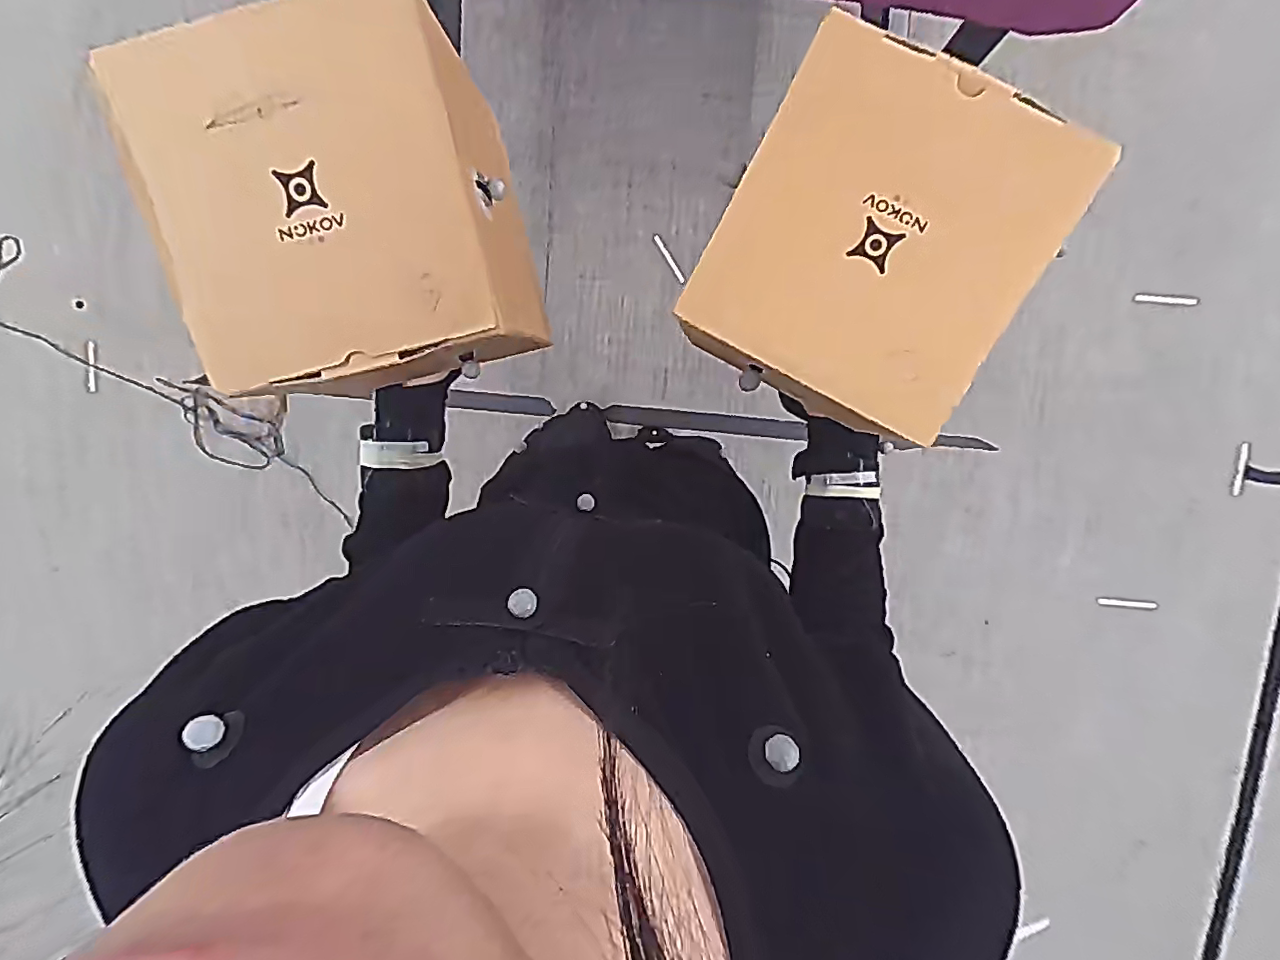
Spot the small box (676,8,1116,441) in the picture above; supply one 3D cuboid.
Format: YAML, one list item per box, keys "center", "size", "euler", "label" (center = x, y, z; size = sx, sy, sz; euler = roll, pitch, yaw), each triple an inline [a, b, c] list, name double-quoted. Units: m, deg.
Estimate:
- center: [0.143, -0.144, 0.371]
  size: [0.168, 0.176, 0.179]
  euler: [29, 101, 4]
  label: "small box"

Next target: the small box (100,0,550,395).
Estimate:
- center: [-0.168, -0.163, 0.357]
  size: [0.168, 0.176, 0.179]
  euler: [-13, 100, 2]
  label: "small box"
